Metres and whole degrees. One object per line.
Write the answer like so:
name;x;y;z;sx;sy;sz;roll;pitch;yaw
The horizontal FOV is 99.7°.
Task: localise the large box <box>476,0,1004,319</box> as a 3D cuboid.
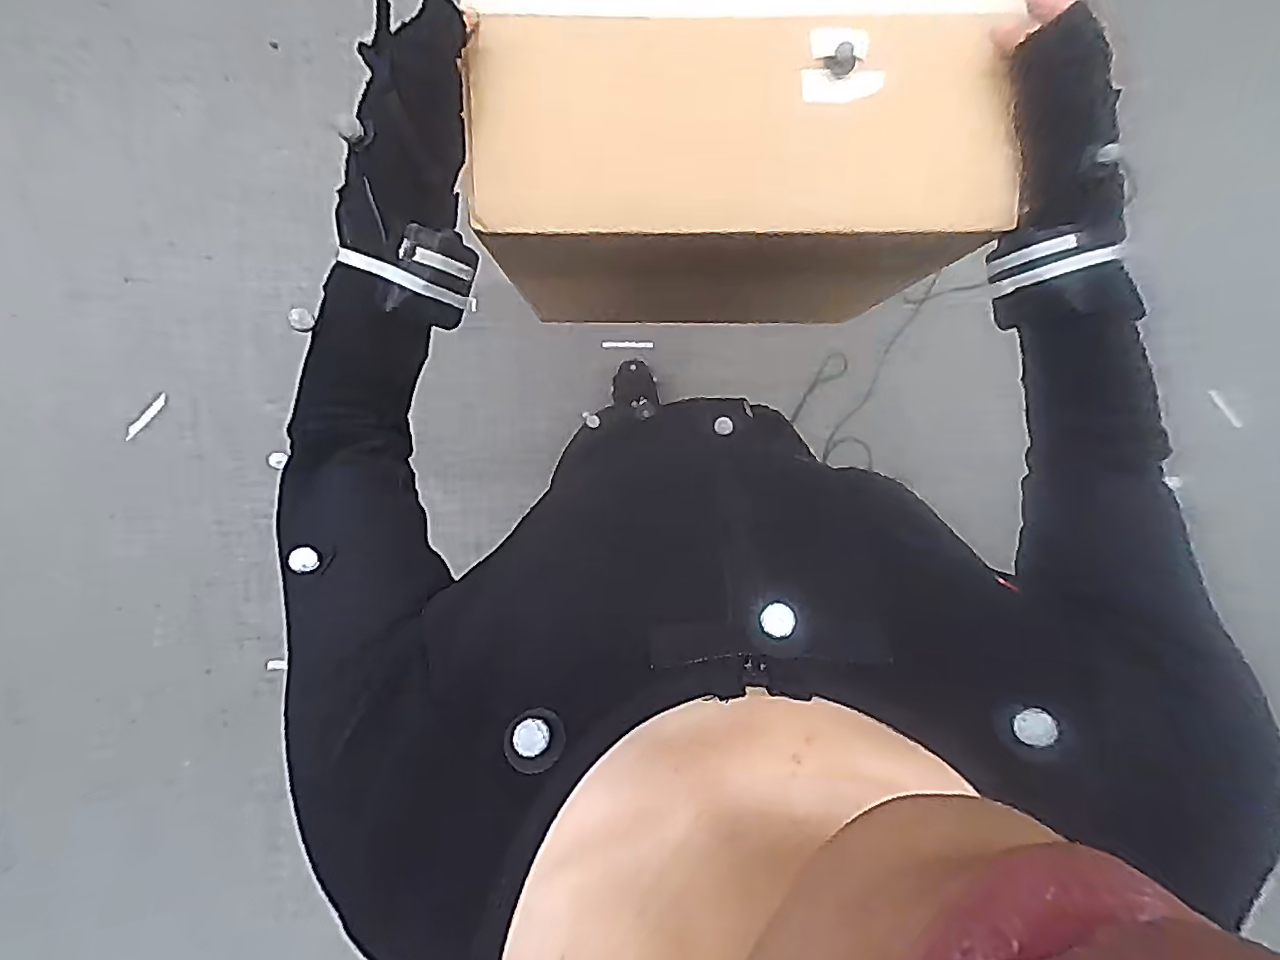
large box;0.070;-0.359;0.552;0.408;0.320;0.320;-1;94;-2
